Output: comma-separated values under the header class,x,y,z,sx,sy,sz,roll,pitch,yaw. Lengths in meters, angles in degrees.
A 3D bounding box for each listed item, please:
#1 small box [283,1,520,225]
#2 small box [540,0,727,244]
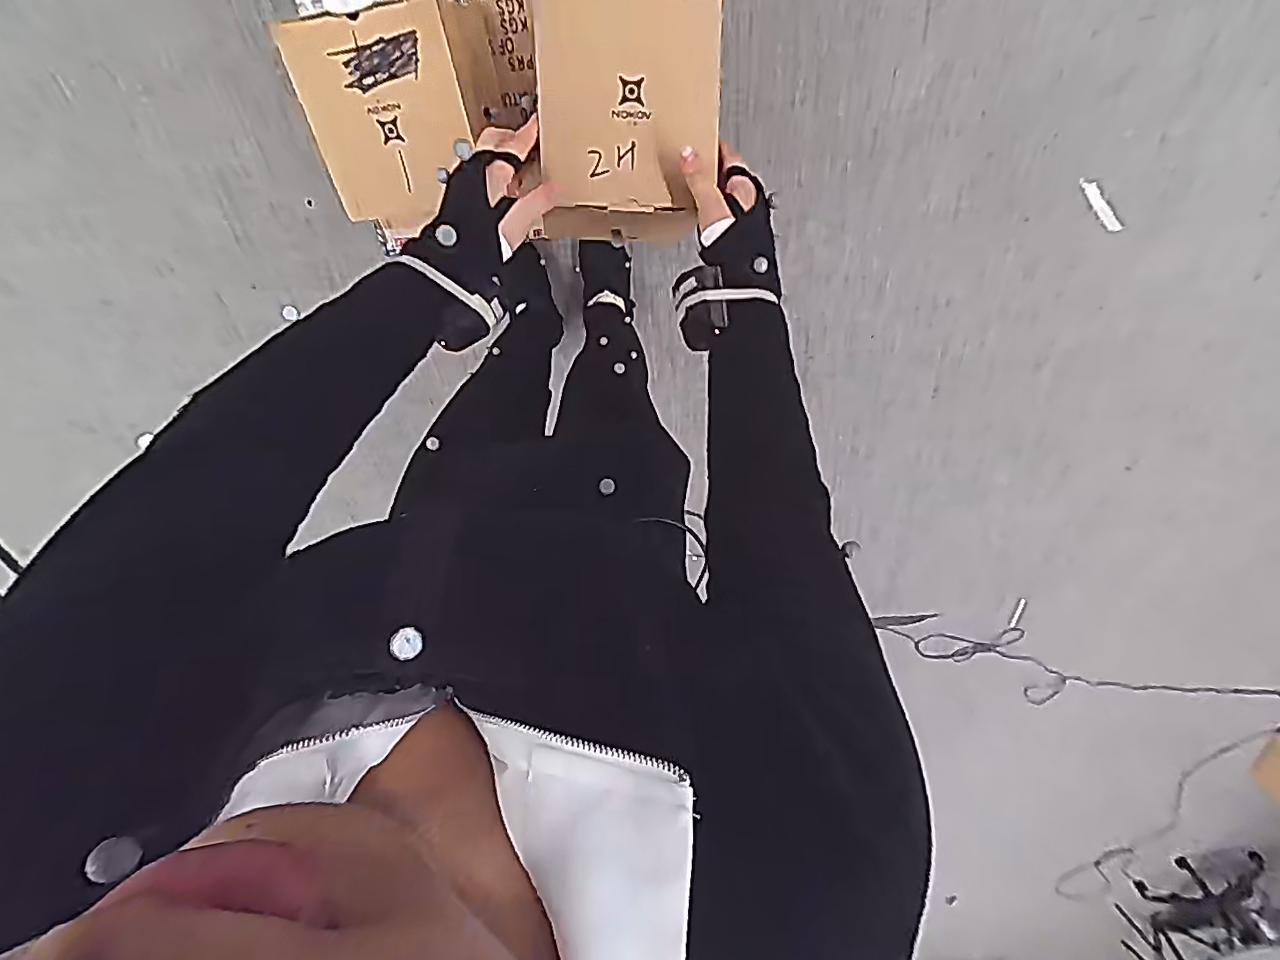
class,x,y,z,sx,sy,sz,roll,pitch,yaw
small box,-0.249,-0.411,0.618,0.168,0.176,0.179,-5,127,5
small box,-0.017,-0.353,0.555,0.168,0.176,0.179,-2,104,-8
